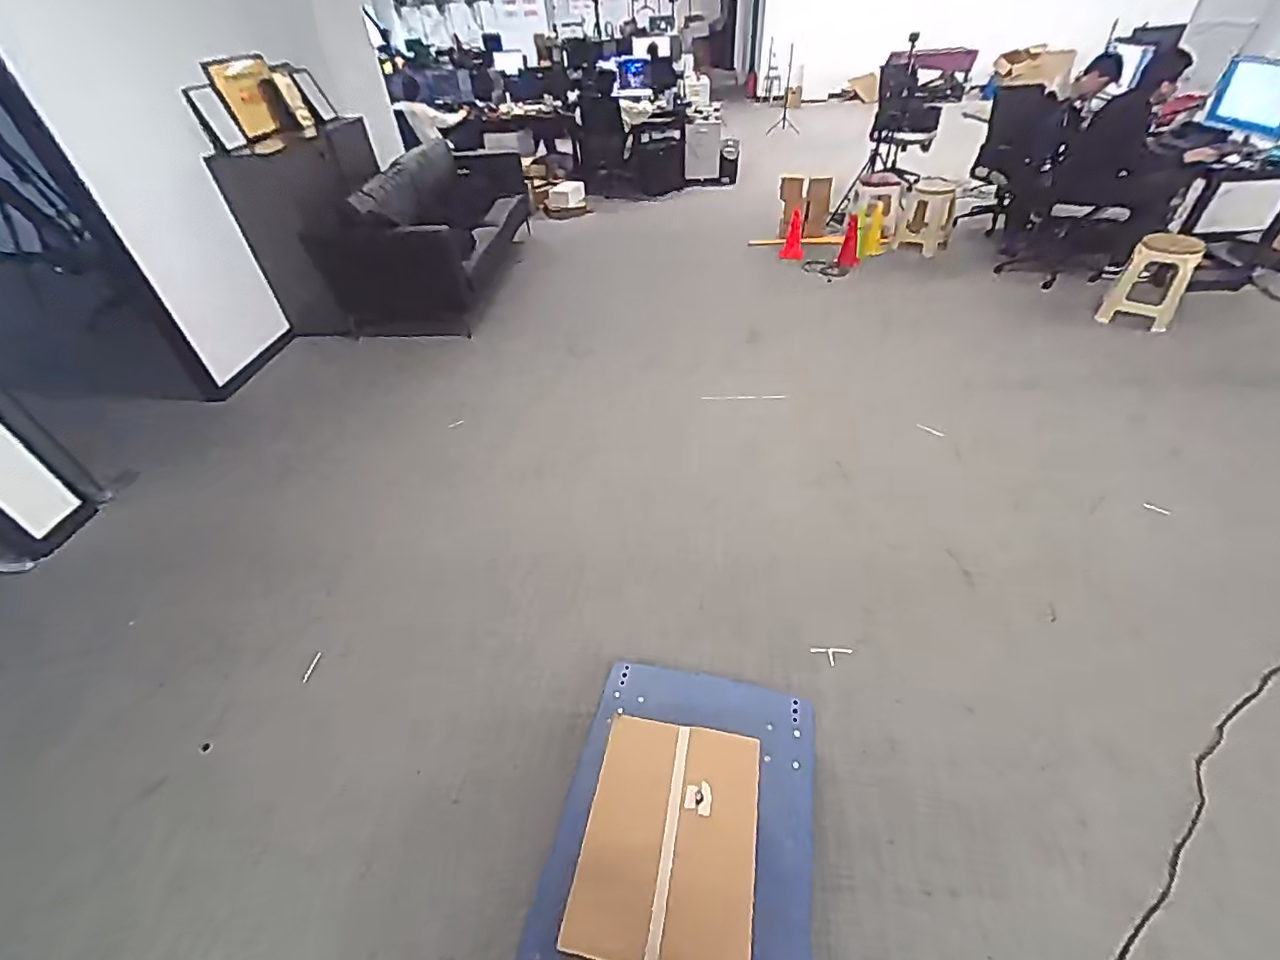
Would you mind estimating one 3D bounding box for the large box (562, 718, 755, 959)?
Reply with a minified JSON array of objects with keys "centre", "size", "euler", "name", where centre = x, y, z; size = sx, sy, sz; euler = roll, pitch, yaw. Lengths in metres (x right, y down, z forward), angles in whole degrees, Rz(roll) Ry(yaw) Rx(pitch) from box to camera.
[{"centre":[0.065,0.776,1.108],"size":[0.320,0.320,0.408],"euler":[5,41,11],"name":"large box"}]
